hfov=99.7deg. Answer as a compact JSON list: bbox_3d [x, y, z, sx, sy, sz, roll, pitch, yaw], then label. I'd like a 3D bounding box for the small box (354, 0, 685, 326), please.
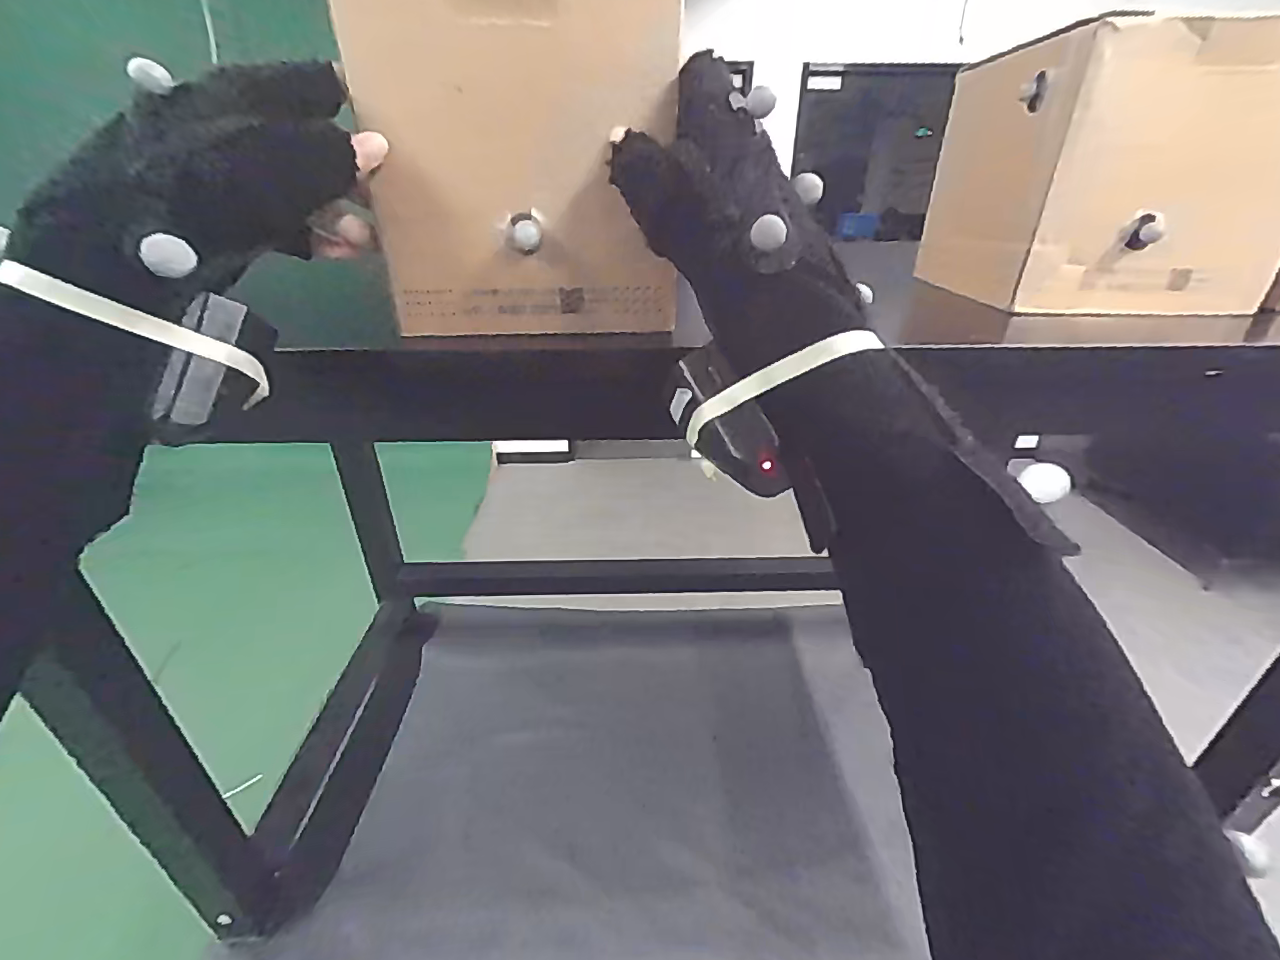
[{"bbox_3d":[-0.064,-0.208,0.368,0.168,0.176,0.179,-2,28,-3],"label":"small box"}]

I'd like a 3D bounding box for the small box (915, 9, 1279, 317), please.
[{"bbox_3d":[0.341,-0.231,0.418,0.168,0.176,0.179,2,29,2],"label":"small box"}]
